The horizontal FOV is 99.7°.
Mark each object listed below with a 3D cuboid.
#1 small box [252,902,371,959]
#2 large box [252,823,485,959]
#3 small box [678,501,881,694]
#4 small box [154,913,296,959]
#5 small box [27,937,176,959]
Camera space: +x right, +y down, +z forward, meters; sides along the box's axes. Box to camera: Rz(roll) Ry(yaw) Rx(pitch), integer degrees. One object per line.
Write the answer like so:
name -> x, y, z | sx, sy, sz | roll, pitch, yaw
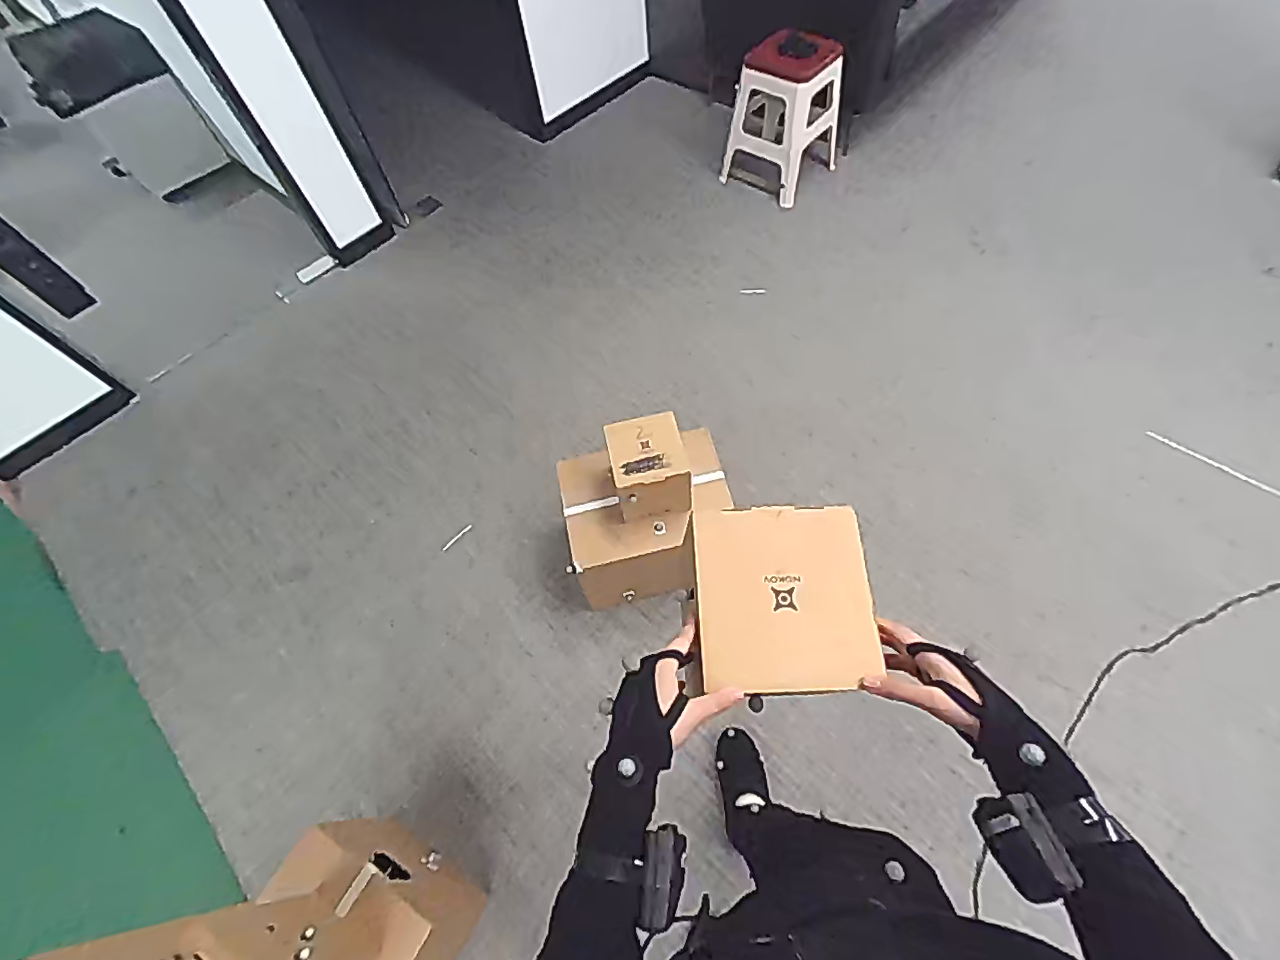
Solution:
small box -> -0.556, 0.790, 0.828 | 0.179, 0.176, 0.168 | 24, 64, 19
large box -> -0.569, 0.943, 1.022 | 0.320, 0.320, 0.408 | 23, 65, 19
small box -> 0.131, 0.134, 0.581 | 0.168, 0.176, 0.179 | -2, 66, -1
small box -> -0.570, 0.702, 0.691 | 0.168, 0.176, 0.179 | 23, 64, 18
small box -> -0.586, 0.618, 0.550 | 0.168, 0.176, 0.179 | 24, 63, 18
